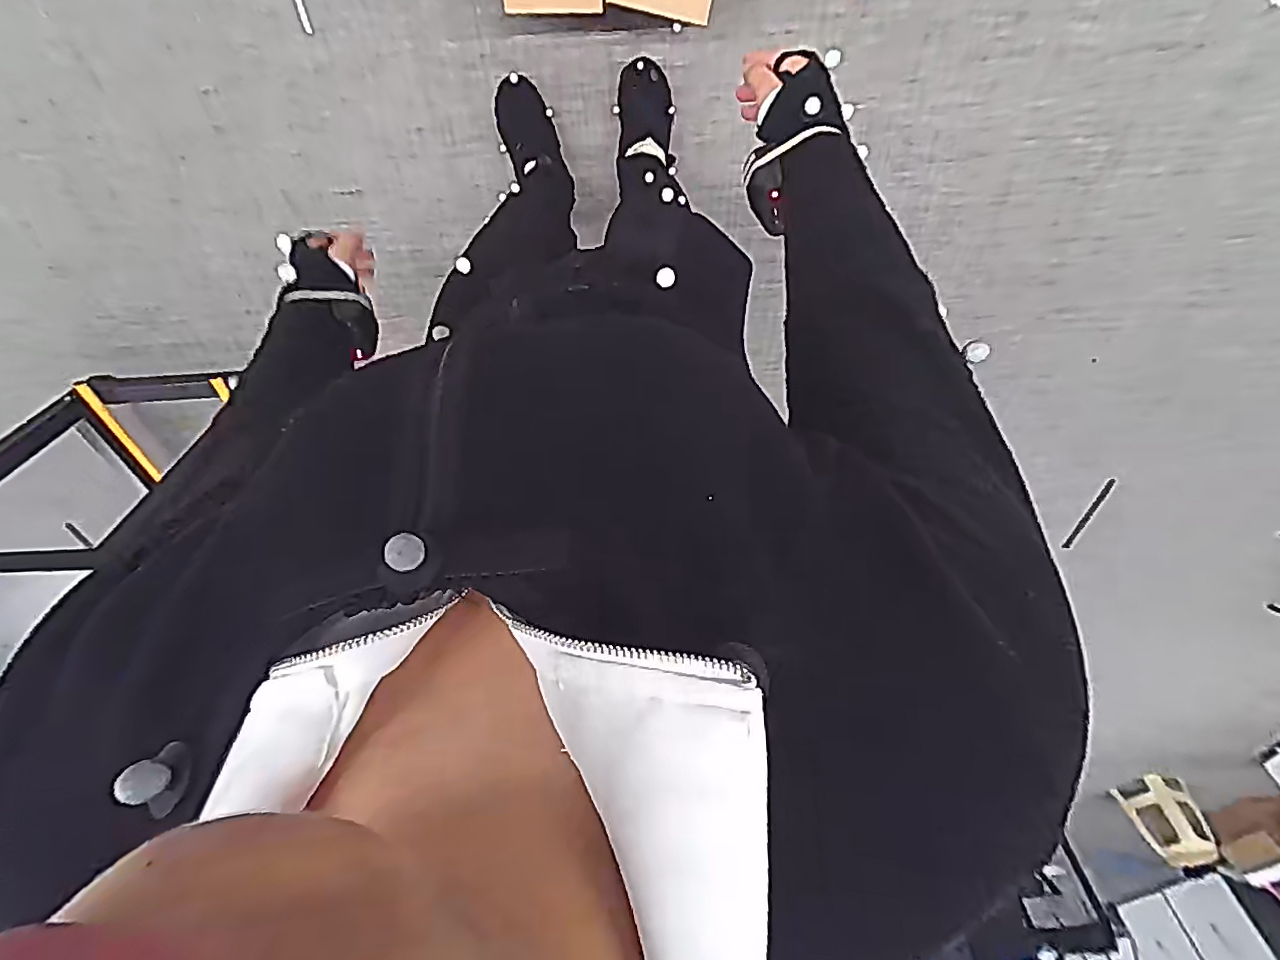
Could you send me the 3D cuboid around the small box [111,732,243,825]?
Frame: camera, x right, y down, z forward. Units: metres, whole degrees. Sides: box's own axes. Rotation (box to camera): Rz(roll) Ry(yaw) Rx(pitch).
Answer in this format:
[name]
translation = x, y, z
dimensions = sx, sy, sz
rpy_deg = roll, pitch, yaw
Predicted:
[small box]
translation = -1.174, 0.767, 1.395
dimensions = 0.179, 0.176, 0.168
rpy_deg = -2, 132, 0
